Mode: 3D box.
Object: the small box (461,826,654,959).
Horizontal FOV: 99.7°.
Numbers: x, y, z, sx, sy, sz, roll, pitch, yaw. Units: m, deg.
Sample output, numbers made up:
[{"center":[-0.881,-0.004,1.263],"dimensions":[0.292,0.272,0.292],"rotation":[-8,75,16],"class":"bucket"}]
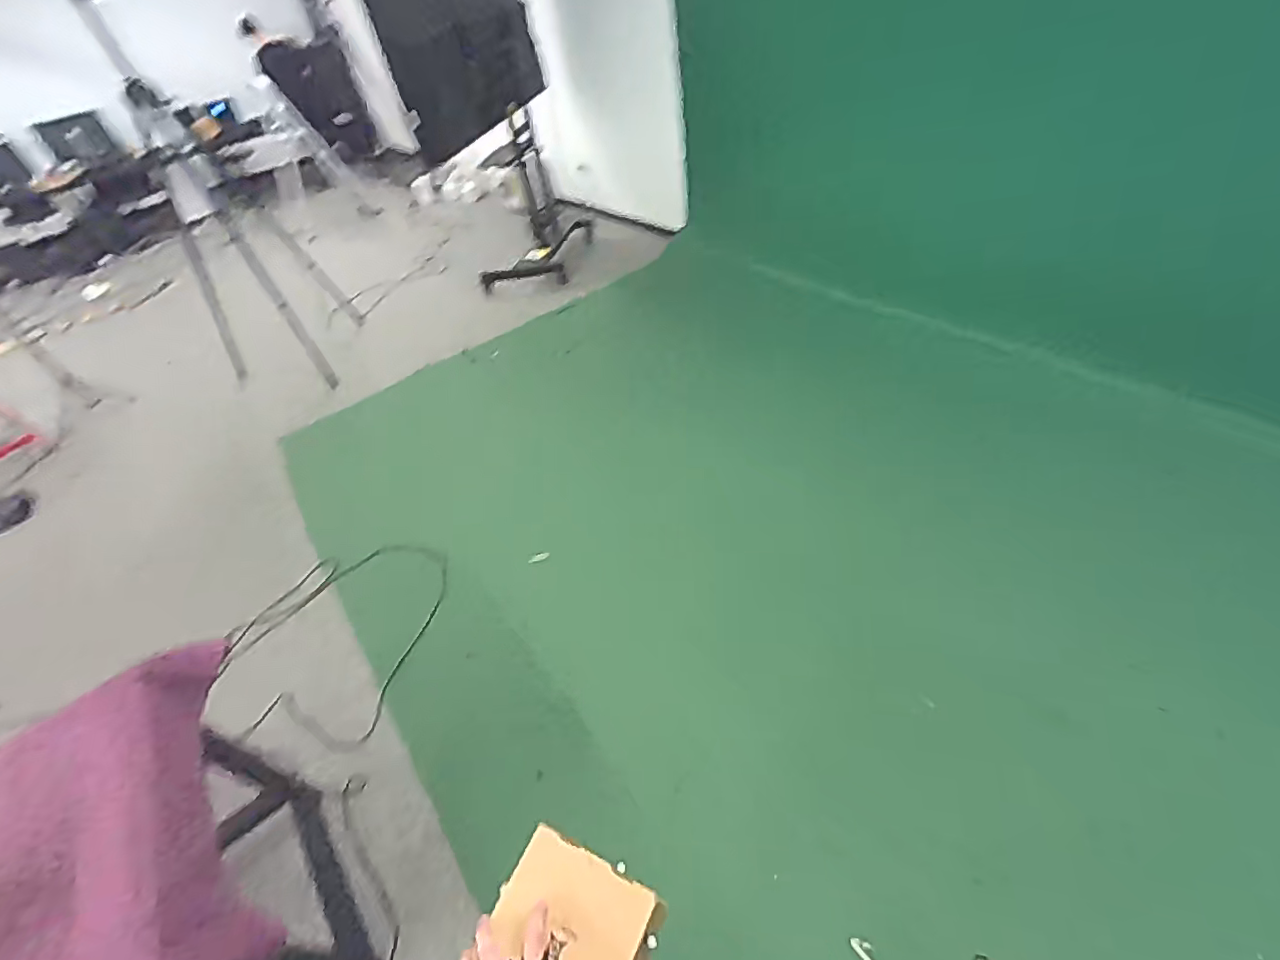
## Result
[{"center":[-0.091,0.563,0.650],"dimensions":[0.168,0.176,0.179],"rotation":[17,52,22],"class":"small box"}]
